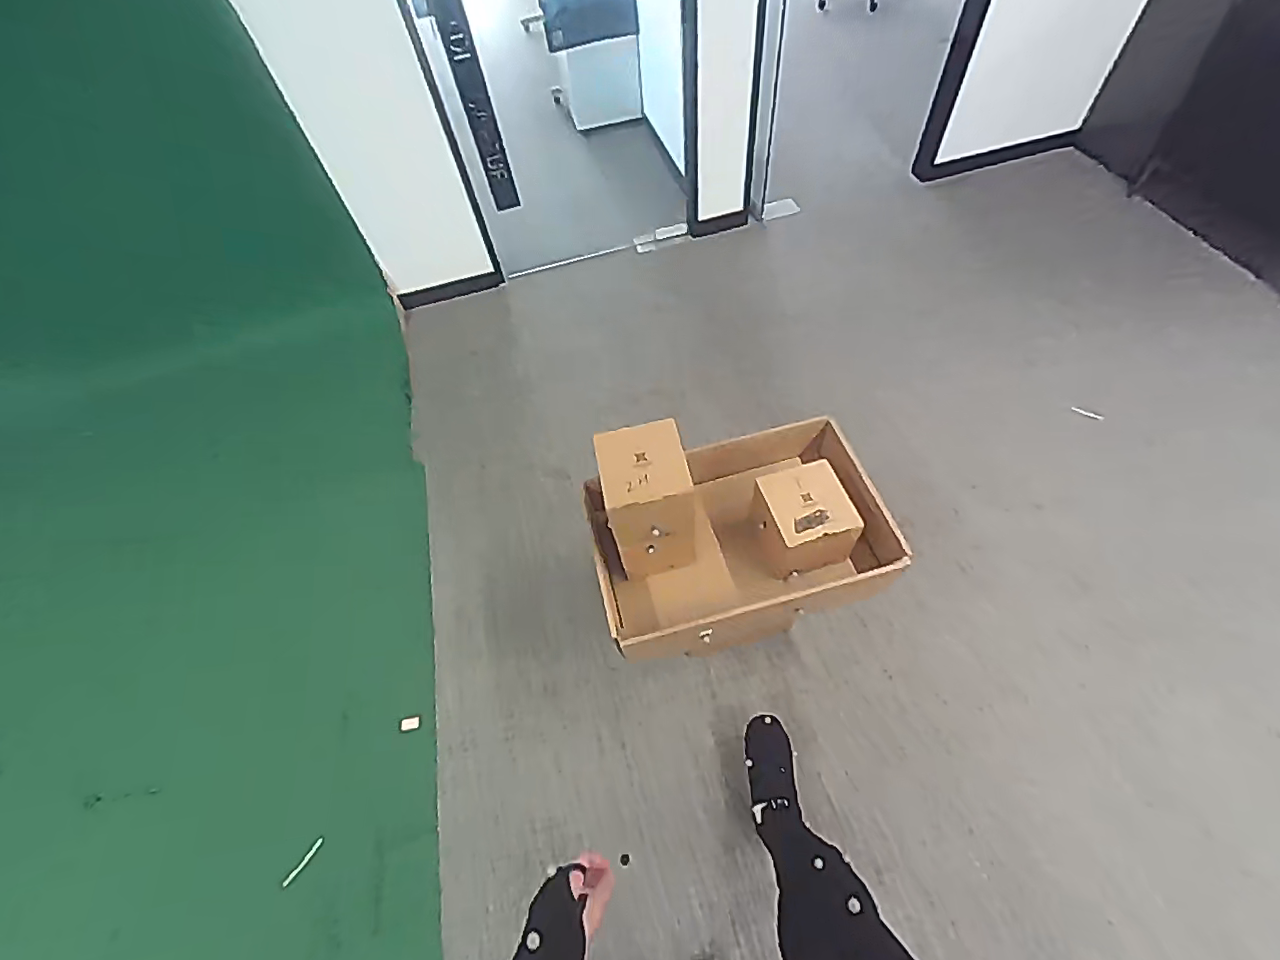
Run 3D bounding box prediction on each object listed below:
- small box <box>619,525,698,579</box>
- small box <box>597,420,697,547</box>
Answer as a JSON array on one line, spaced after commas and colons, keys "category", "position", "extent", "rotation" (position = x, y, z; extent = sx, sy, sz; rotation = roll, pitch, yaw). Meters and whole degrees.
[{"category": "small box", "position": [0.029, 0.099, 1.218], "extent": [0.168, 0.176, 0.179], "rotation": [-13, 56, -3]}, {"category": "small box", "position": [0.015, 0.009, 1.081], "extent": [0.168, 0.176, 0.179], "rotation": [-12, 57, -1]}]
